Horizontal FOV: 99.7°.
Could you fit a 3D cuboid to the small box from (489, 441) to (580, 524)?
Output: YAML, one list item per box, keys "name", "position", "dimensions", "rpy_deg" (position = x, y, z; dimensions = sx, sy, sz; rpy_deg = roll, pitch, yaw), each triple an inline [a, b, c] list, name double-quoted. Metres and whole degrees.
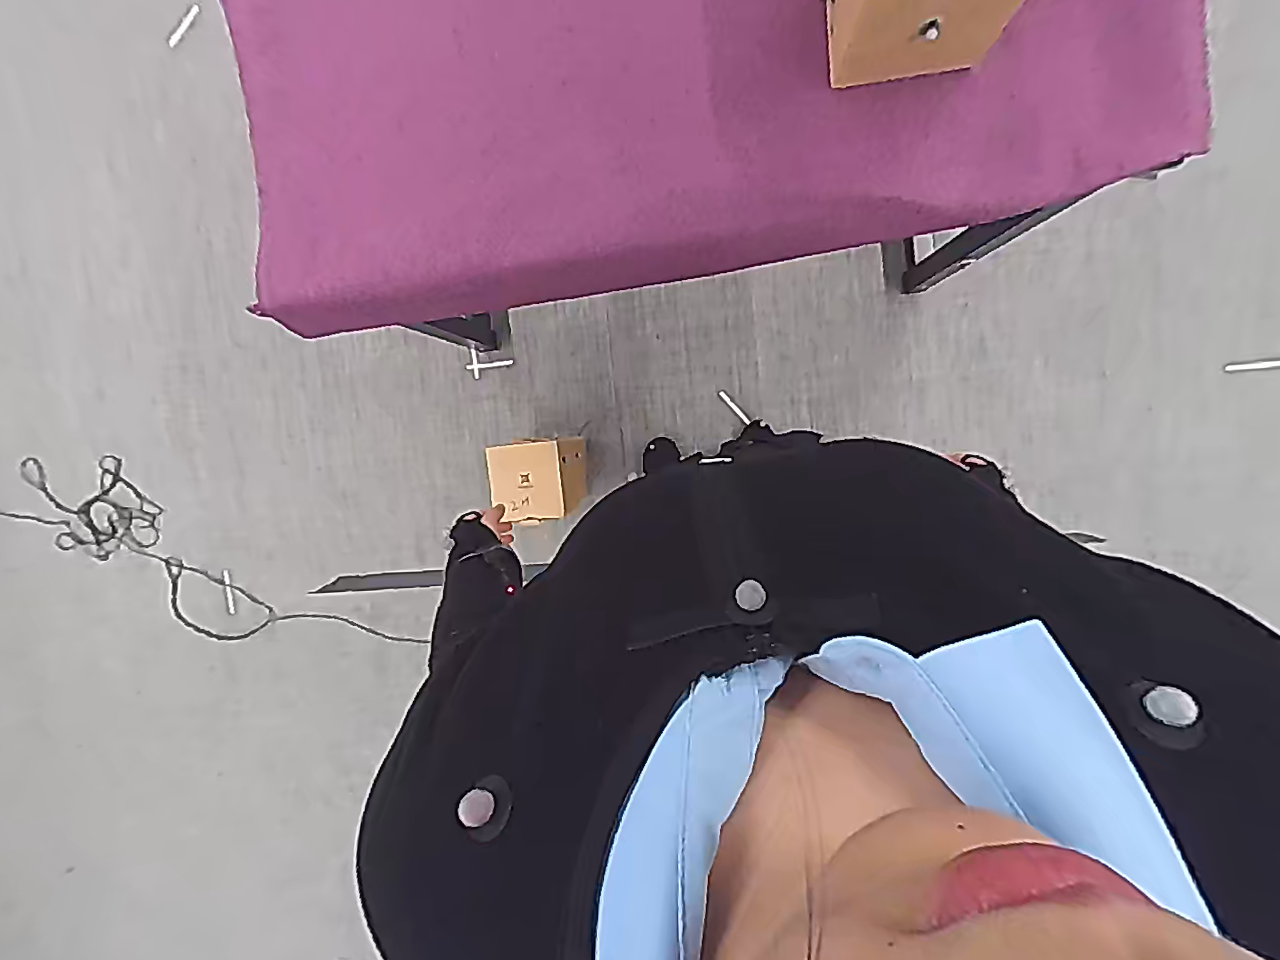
- name: "small box"
  position: [-0.243, 0.000, 1.284]
  dimensions: [0.168, 0.176, 0.179]
  rpy_deg: [-5, 96, 6]

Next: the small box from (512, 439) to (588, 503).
- name: "small box"
  position: [-0.235, -0.019, 1.448]
  dimensions: [0.168, 0.176, 0.179]
  rpy_deg: [0, 96, 5]
